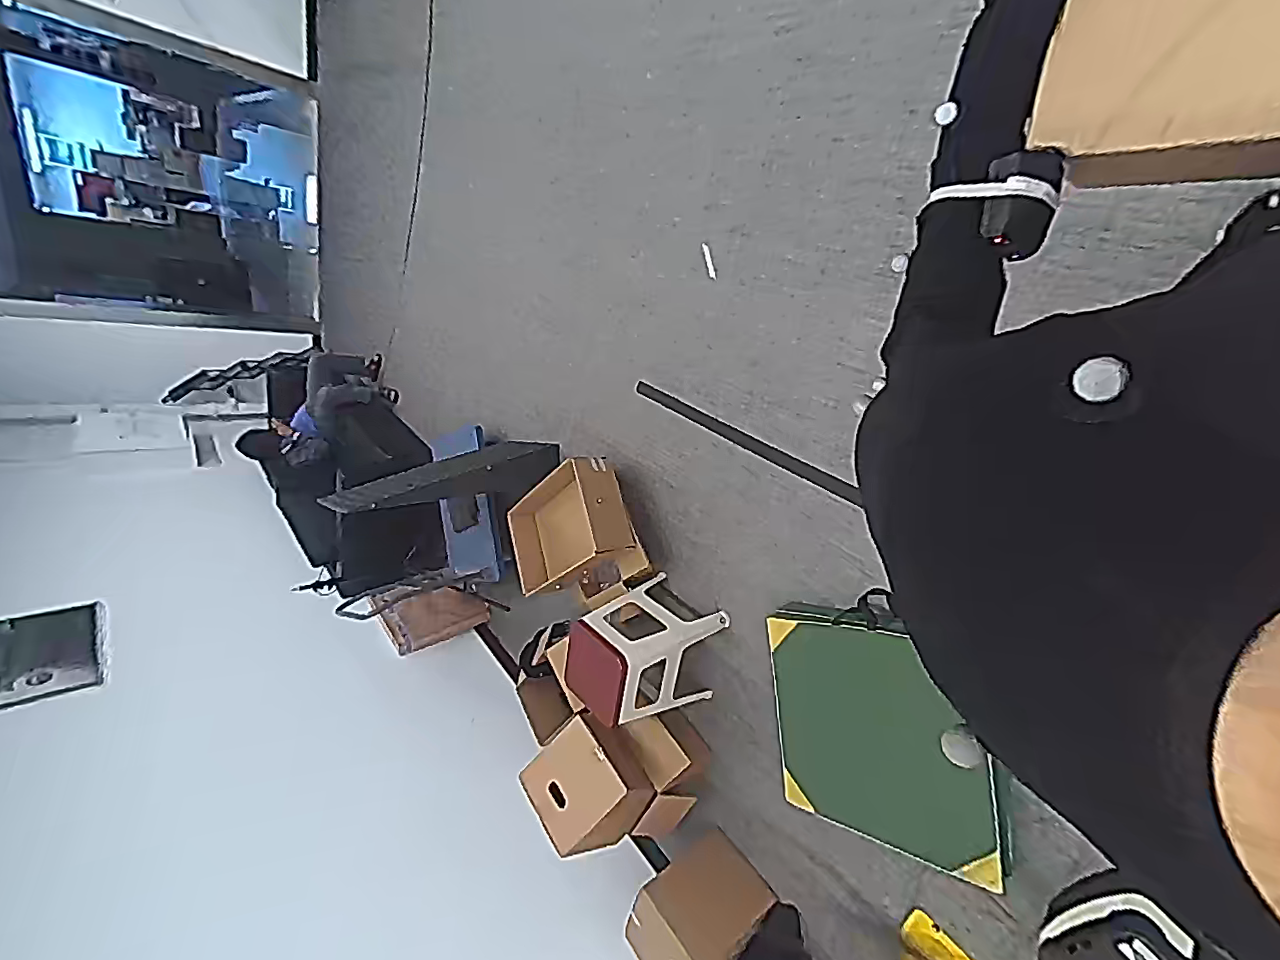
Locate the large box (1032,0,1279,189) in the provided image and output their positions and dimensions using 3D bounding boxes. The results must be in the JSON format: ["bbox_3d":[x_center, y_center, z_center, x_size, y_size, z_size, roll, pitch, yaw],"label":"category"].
[{"bbox_3d":[0.544,-0.389,0.346,0.408,0.320,0.320,18,120,37],"label":"large box"}]
